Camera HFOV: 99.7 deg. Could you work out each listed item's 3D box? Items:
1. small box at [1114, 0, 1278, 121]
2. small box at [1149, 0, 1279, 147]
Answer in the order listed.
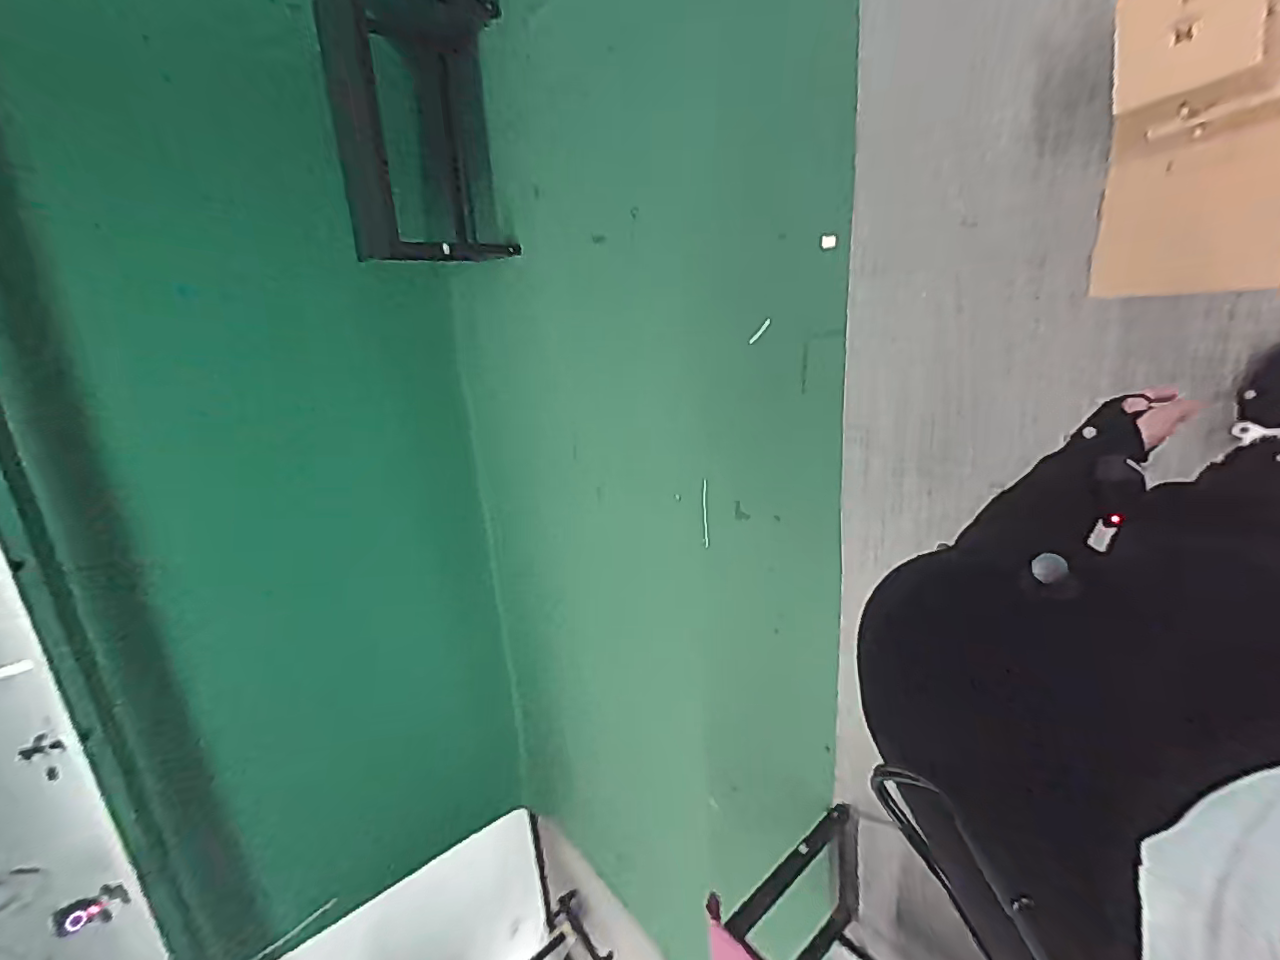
[{"bbox_3d":[0.890,-0.706,0.866,0.168,0.176,0.179,7,107,50],"label":"small box"},{"bbox_3d":[1.030,-0.724,0.954,0.168,0.176,0.179,6,107,51],"label":"small box"}]
